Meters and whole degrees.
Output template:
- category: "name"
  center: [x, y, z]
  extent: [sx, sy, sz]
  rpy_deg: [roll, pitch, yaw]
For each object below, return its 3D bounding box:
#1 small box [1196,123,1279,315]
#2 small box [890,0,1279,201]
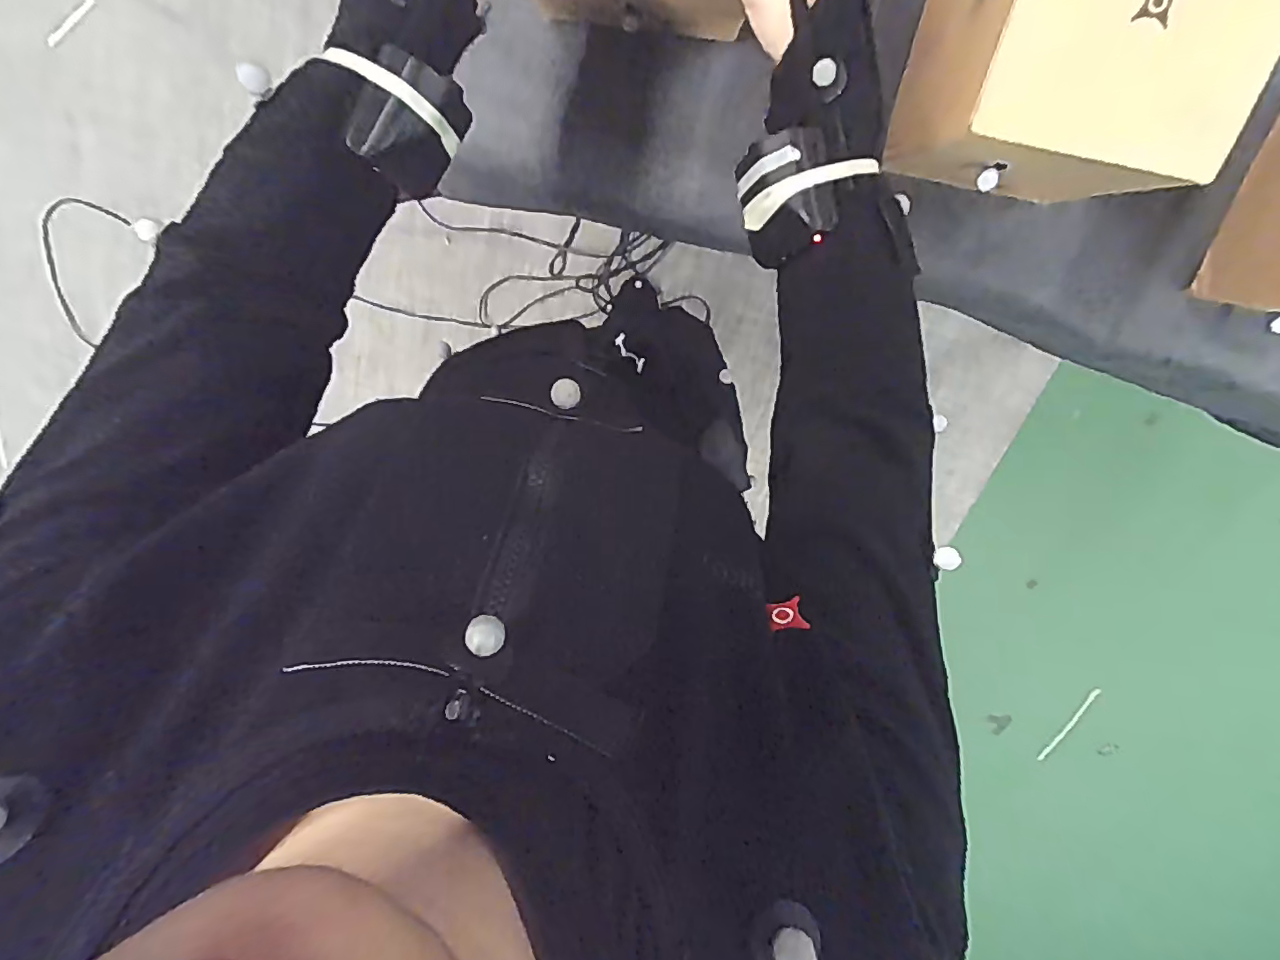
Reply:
- category: "small box"
  center: [0.617, -0.214, 0.421]
  extent: [0.168, 0.176, 0.179]
  rpy_deg: [9, 113, -1]
- category: "small box"
  center: [0.308, -0.315, 0.389]
  extent: [0.168, 0.176, 0.179]
  rpy_deg: [11, 112, -2]
